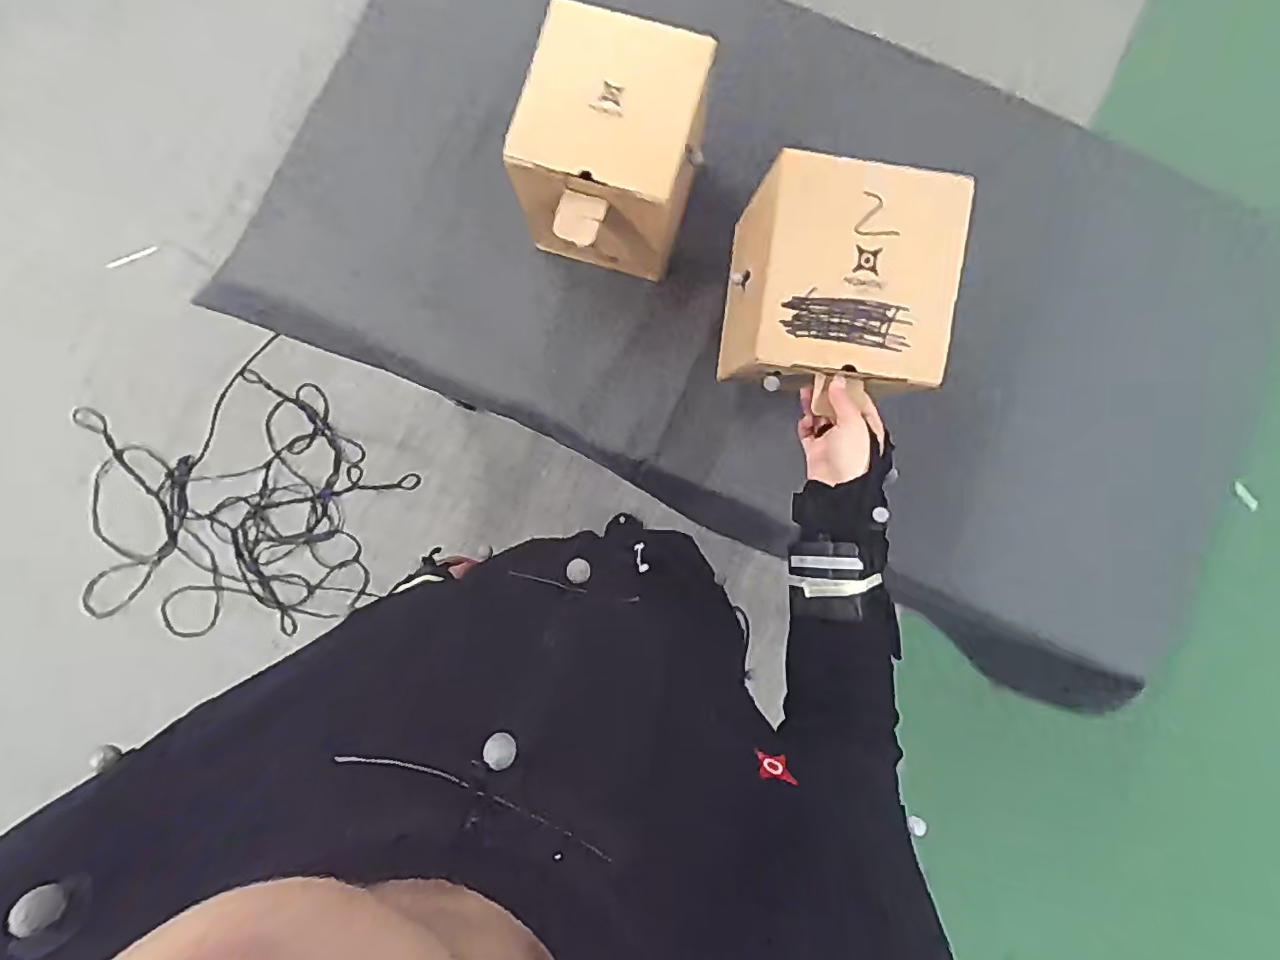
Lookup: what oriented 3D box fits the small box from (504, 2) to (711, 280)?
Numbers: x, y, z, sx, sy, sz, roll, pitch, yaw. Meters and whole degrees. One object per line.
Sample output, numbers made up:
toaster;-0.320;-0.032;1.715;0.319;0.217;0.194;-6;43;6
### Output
small box;-0.032;-0.356;0.599;0.168;0.176;0.179;15;86;1
